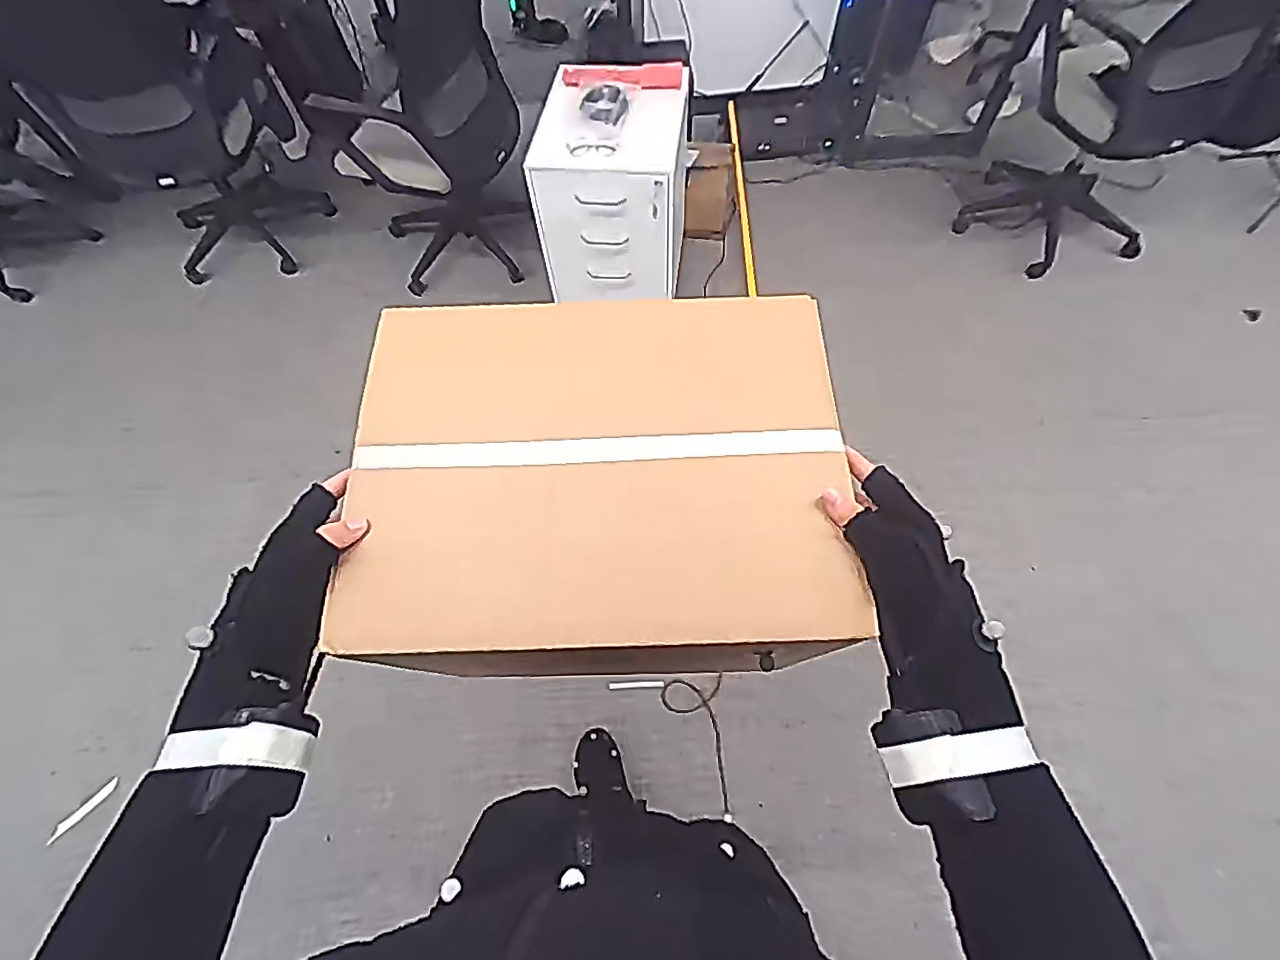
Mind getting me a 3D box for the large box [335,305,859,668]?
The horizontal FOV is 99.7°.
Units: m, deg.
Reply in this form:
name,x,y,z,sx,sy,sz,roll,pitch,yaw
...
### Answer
name,x,y,z,sx,sy,sz,roll,pitch,yaw
large box,-0.034,0.035,0.598,0.408,0.320,0.320,-1,67,0
